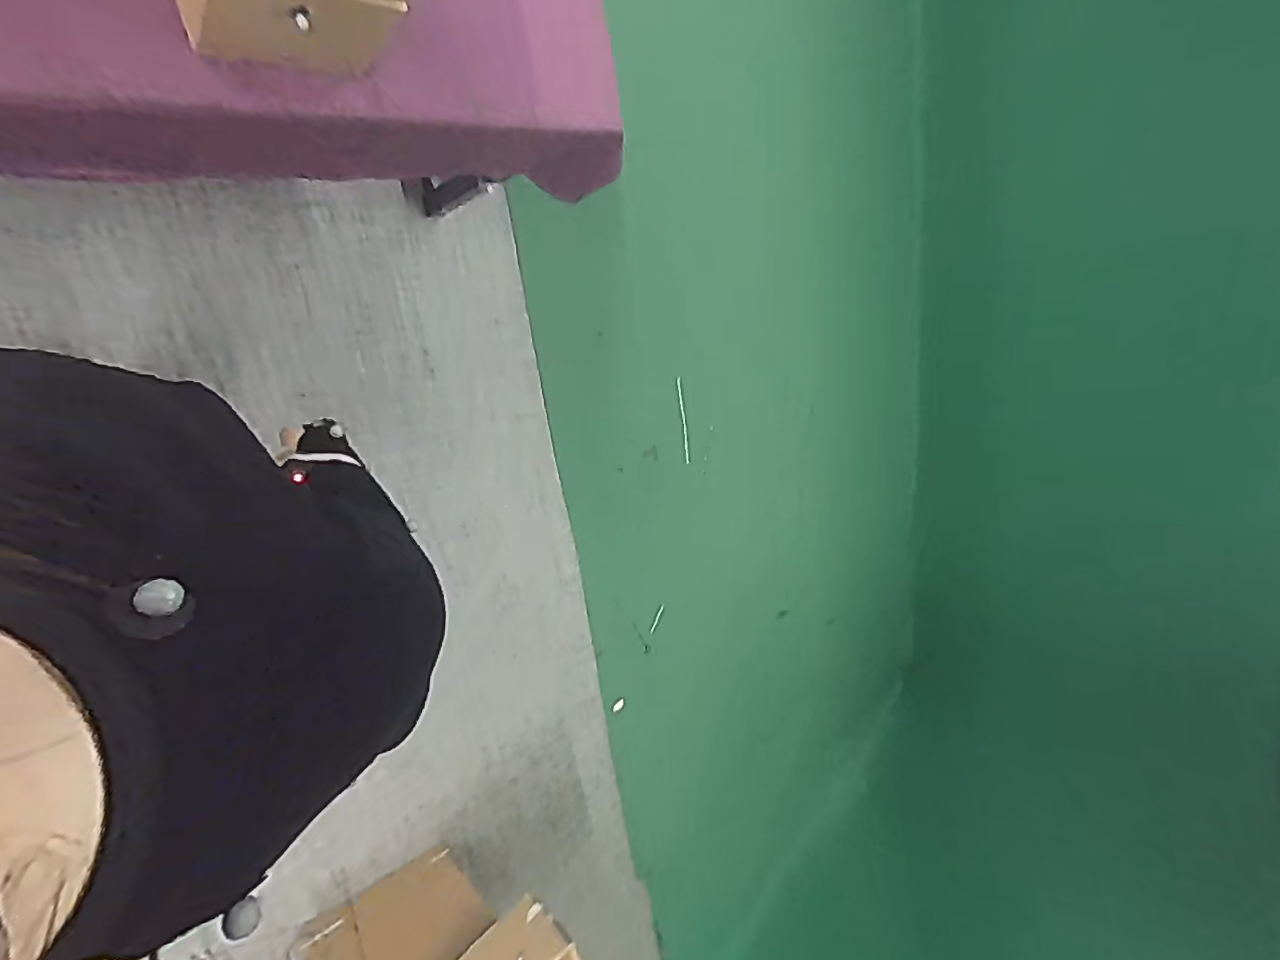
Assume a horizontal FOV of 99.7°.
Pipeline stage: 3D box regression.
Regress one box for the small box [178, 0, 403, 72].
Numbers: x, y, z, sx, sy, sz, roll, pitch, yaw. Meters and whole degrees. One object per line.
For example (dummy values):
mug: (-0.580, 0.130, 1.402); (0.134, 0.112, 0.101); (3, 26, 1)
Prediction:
small box: (-0.379, -0.554, 0.553); (0.179, 0.176, 0.168); (-25, 114, -39)
